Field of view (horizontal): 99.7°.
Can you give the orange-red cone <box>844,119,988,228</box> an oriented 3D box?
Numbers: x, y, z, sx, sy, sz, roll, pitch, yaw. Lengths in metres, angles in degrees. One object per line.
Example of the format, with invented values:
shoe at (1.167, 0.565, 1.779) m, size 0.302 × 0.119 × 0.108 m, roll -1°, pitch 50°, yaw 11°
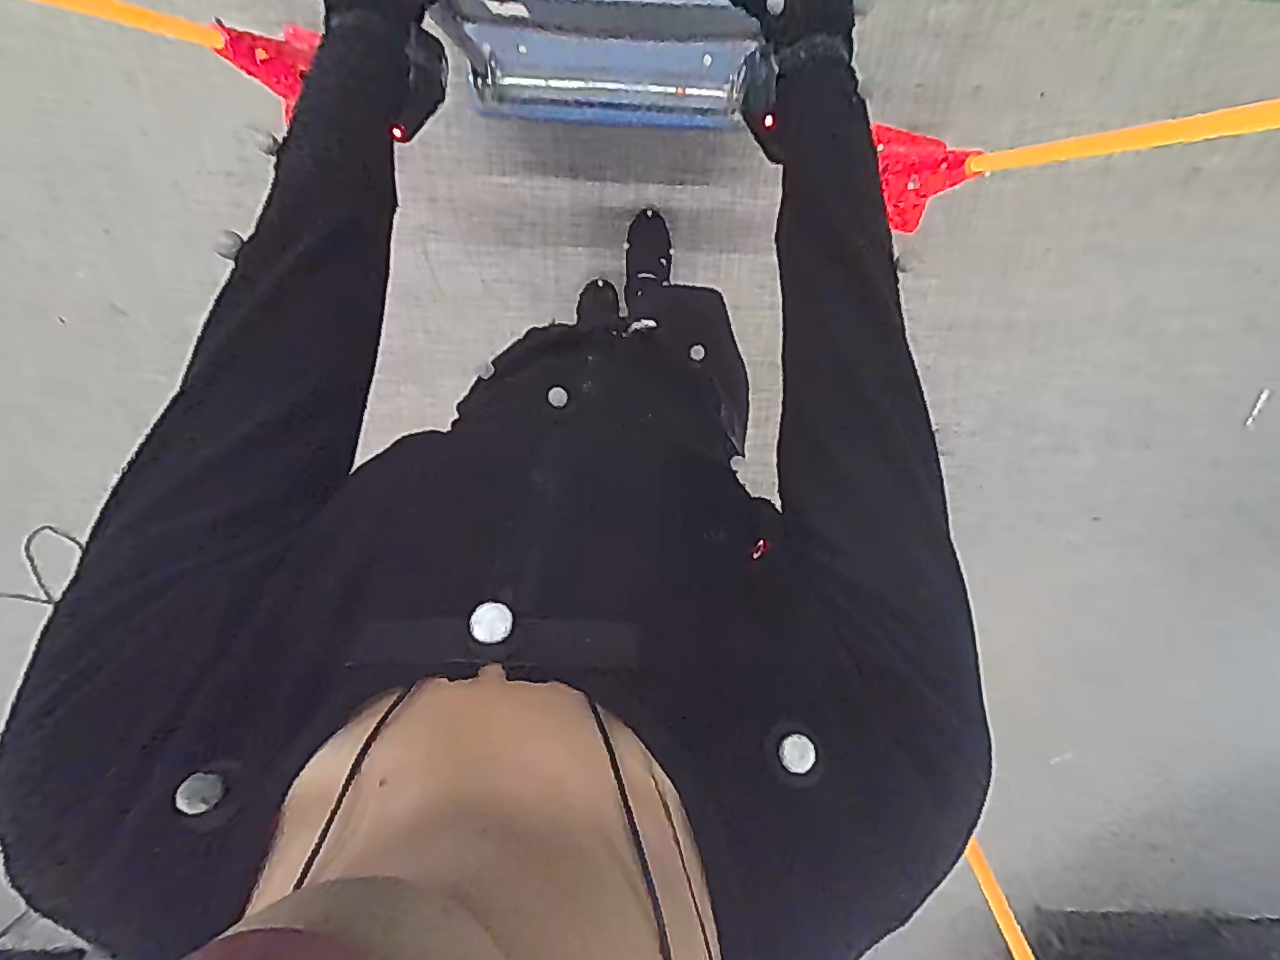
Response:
orange-red cone at (0.596, -0.639, 1.107) m, size 0.198 × 0.360 × 0.199 m, roll 12°, pitch 115°, yaw -5°
